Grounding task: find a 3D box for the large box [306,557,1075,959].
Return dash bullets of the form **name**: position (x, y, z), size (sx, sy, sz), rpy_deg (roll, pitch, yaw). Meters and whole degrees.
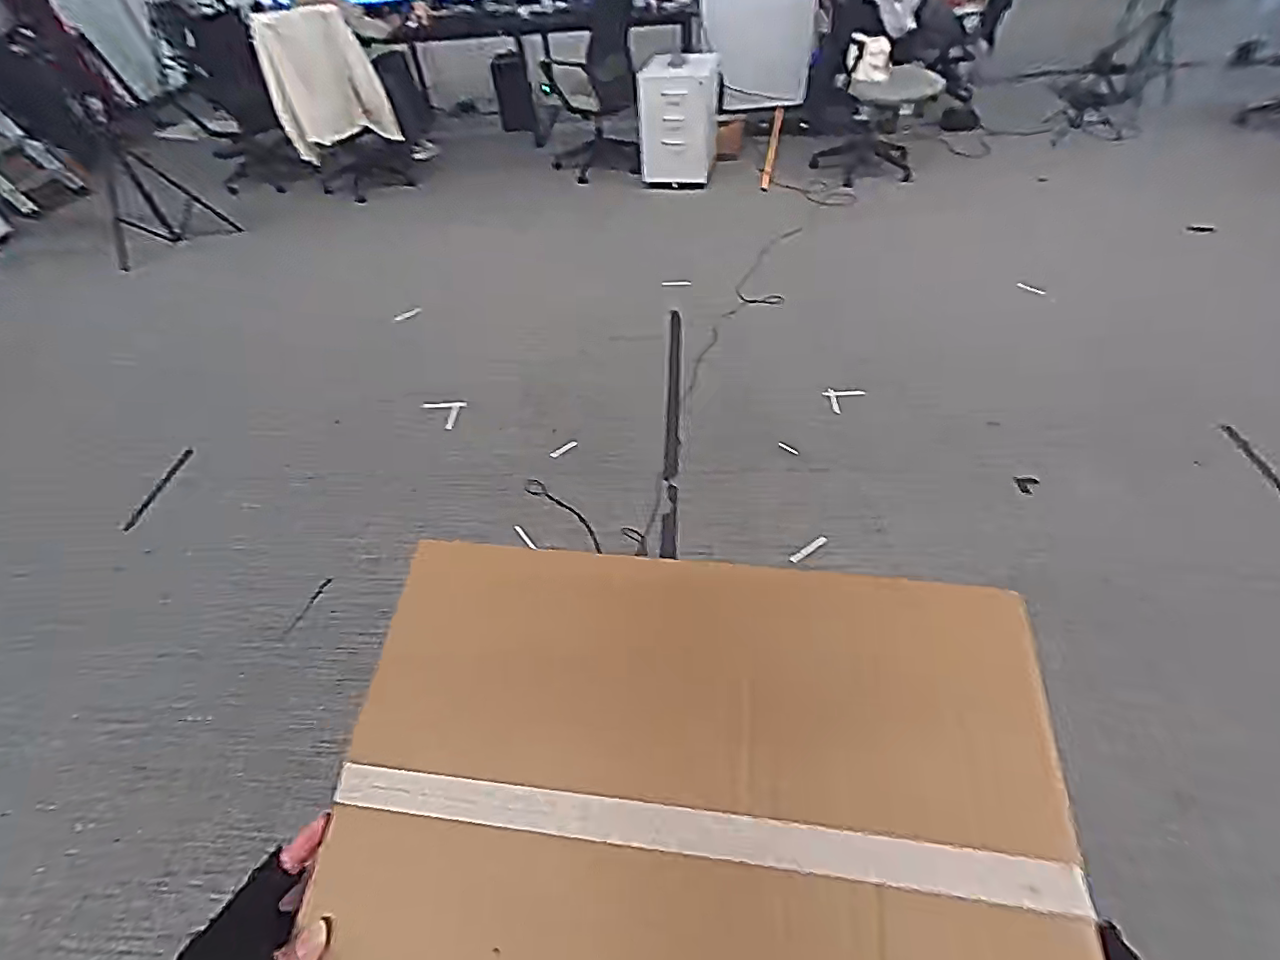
- **large box**: position (0.035, 0.273, 0.438), size (0.408, 0.320, 0.320), rpy_deg (4, 62, 8)
